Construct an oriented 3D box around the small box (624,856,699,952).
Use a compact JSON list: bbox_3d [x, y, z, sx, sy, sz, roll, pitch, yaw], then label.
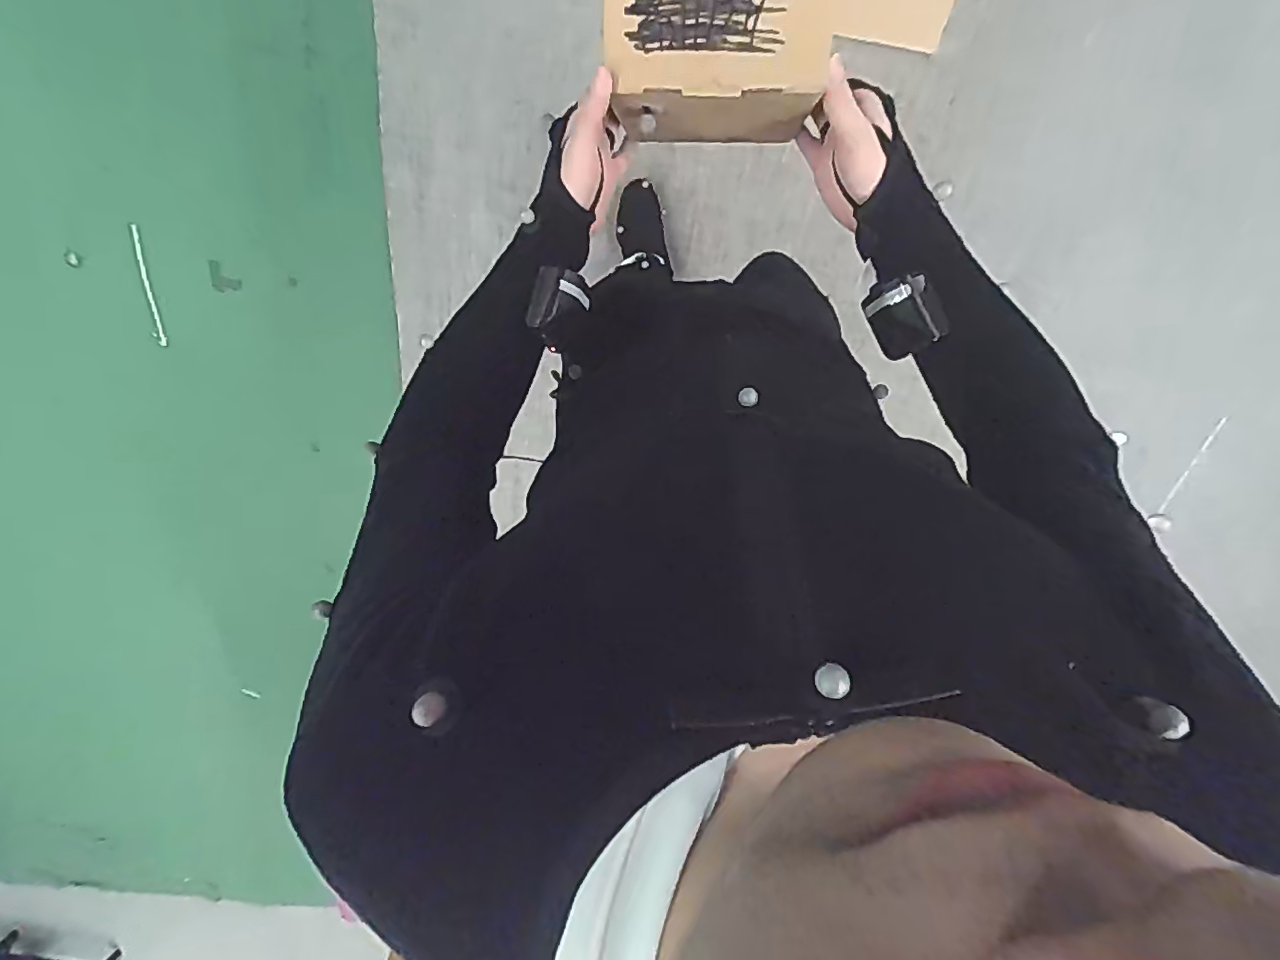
[{"bbox_3d":[0.055,1.167,1.484,0.179,0.176,0.168,7,119,-3],"label":"small box"}]
